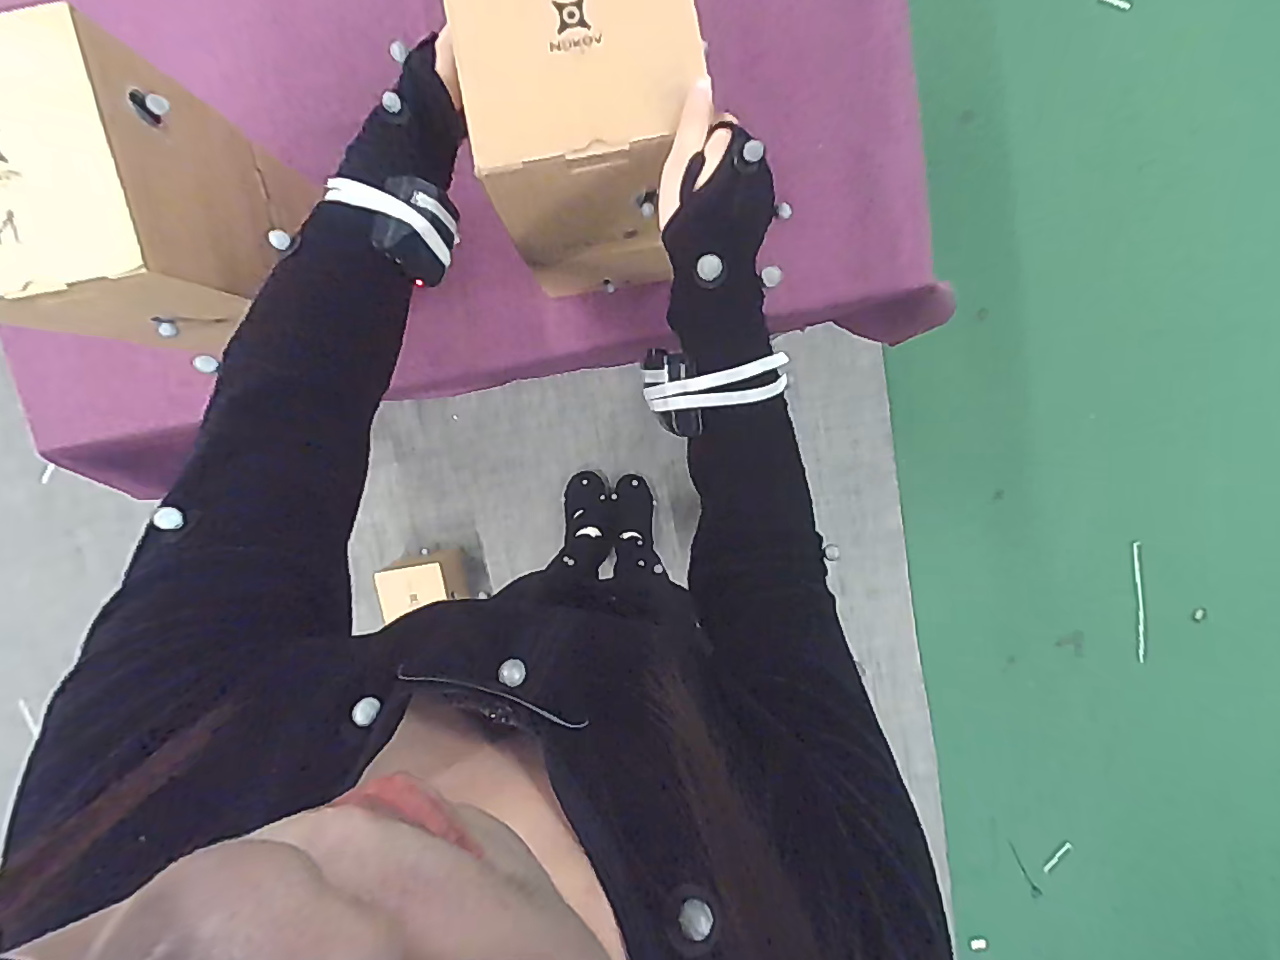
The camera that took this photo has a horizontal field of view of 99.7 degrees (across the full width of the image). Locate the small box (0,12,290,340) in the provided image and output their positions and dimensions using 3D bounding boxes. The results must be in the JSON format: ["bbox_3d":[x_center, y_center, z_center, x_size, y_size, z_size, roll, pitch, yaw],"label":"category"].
[{"bbox_3d":[-0.437,-0.225,0.449,0.168,0.176,0.179,-11,99,0],"label":"small box"}]

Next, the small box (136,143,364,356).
[{"bbox_3d":[-0.442,-0.244,0.614,0.179,0.176,0.168,-12,98,-1],"label":"small box"}]

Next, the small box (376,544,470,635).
[{"bbox_3d":[-0.562,0.283,1.426,0.168,0.176,0.179,-10,97,-1],"label":"small box"}]
